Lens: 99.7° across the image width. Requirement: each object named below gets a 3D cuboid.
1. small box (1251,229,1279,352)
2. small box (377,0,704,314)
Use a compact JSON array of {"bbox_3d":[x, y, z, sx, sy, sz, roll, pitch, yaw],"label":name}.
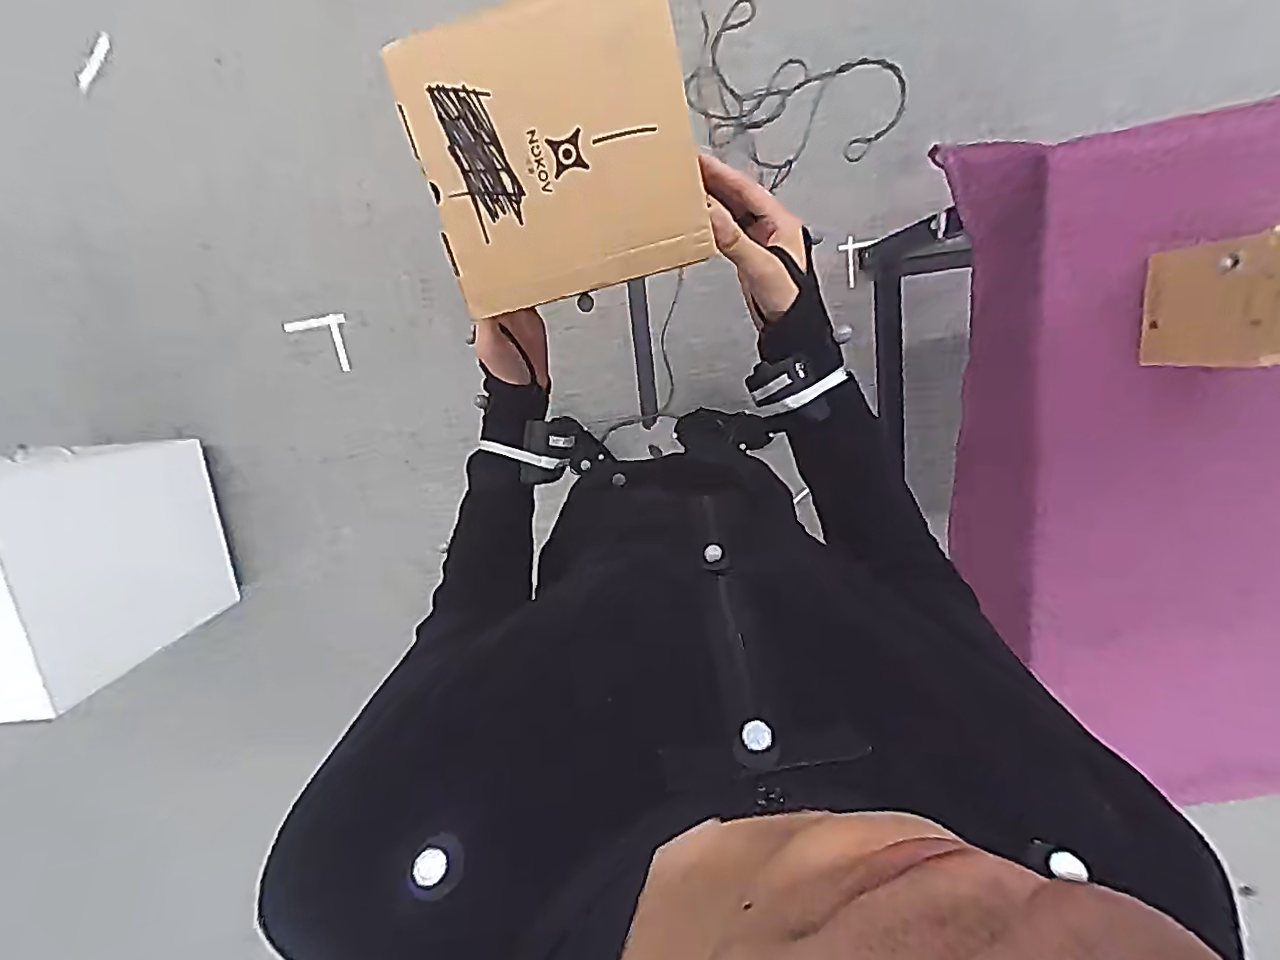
[{"bbox_3d":[0.864,-0.234,0.605,0.168,0.176,0.179,0,103,-1],"label":"small box"},{"bbox_3d":[-0.054,-0.234,0.417,0.179,0.176,0.168,-13,110,8],"label":"small box"}]
